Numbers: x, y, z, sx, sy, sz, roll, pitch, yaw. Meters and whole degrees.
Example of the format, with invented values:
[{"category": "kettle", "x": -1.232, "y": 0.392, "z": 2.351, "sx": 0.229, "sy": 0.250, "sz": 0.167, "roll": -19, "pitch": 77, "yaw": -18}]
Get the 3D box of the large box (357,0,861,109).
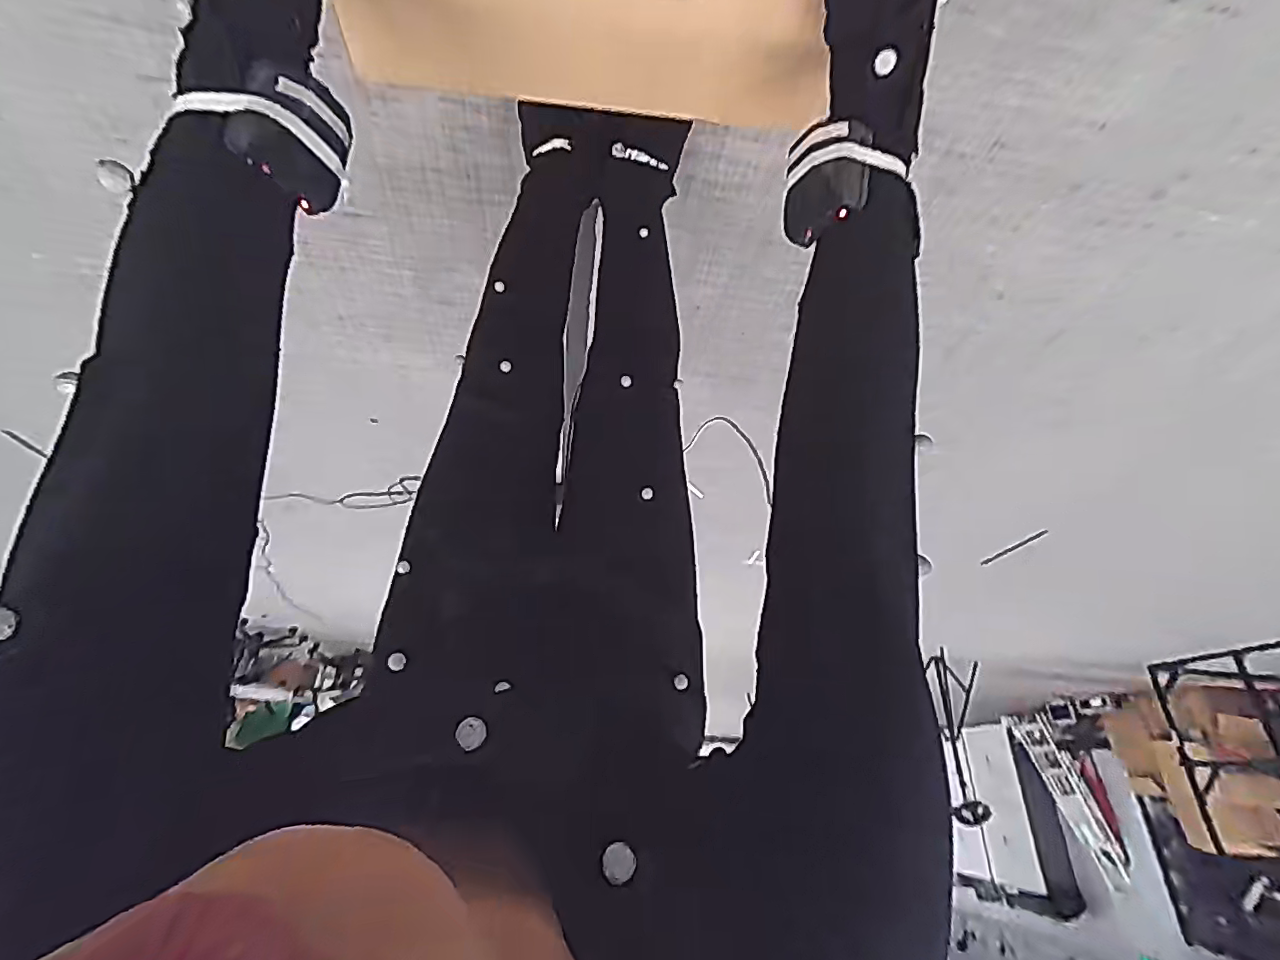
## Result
[{"category": "large box", "x": -0.017, "y": -0.549, "z": 0.424, "sx": 0.408, "sy": 0.320, "sz": 0.320, "roll": 4, "pitch": 150, "yaw": -3}]
